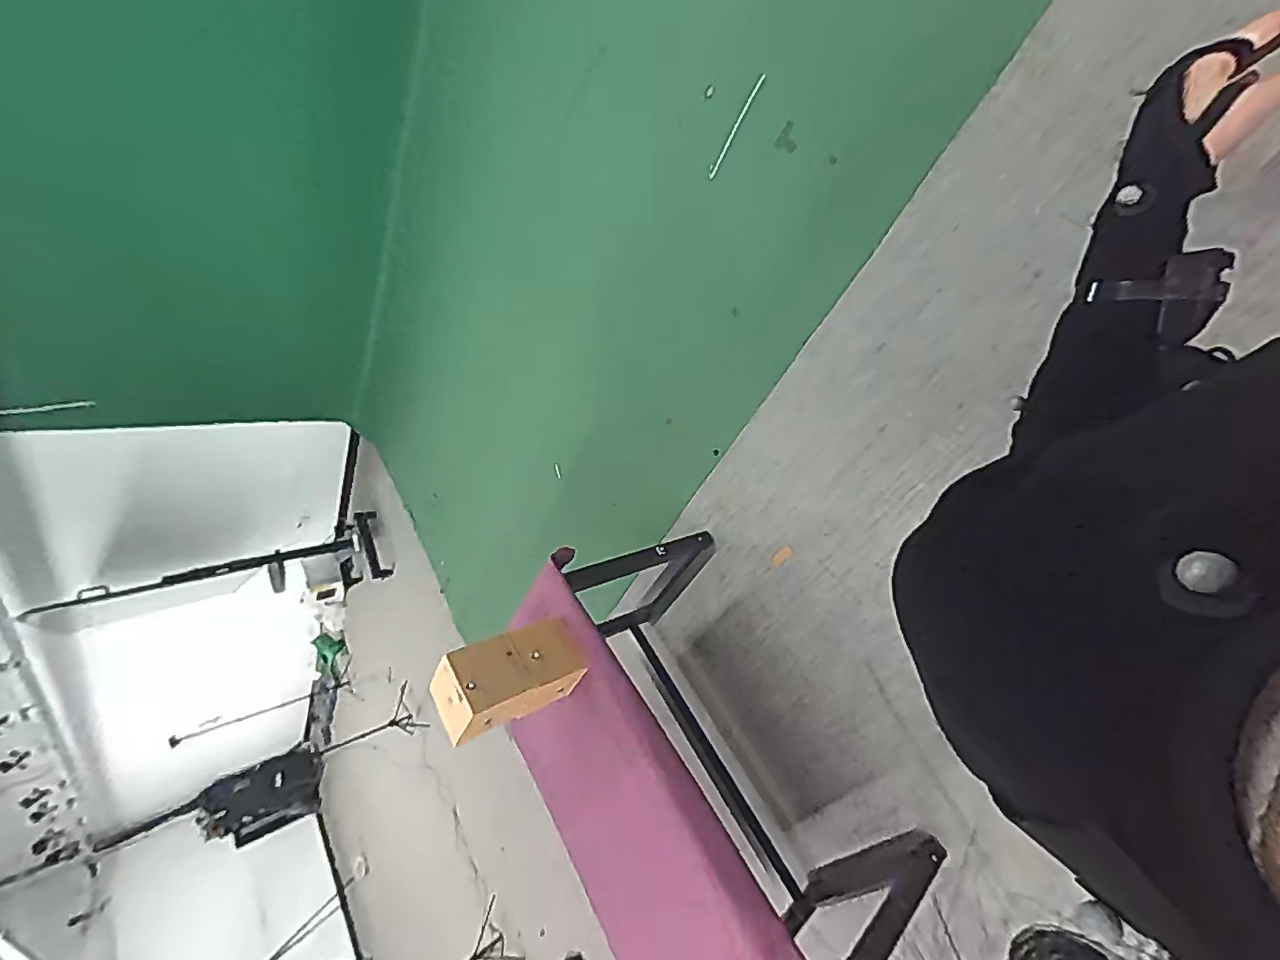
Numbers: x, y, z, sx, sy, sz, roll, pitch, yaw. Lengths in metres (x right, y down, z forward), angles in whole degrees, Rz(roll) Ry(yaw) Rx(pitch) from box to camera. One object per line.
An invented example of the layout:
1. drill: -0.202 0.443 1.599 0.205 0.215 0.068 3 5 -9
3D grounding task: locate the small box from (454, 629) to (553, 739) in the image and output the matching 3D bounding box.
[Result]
1. small box: -0.341 0.507 1.357 0.168 0.176 0.179 52 131 26

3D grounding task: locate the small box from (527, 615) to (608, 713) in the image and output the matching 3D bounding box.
1. small box: -0.218 0.487 1.464 0.179 0.176 0.168 52 130 27
